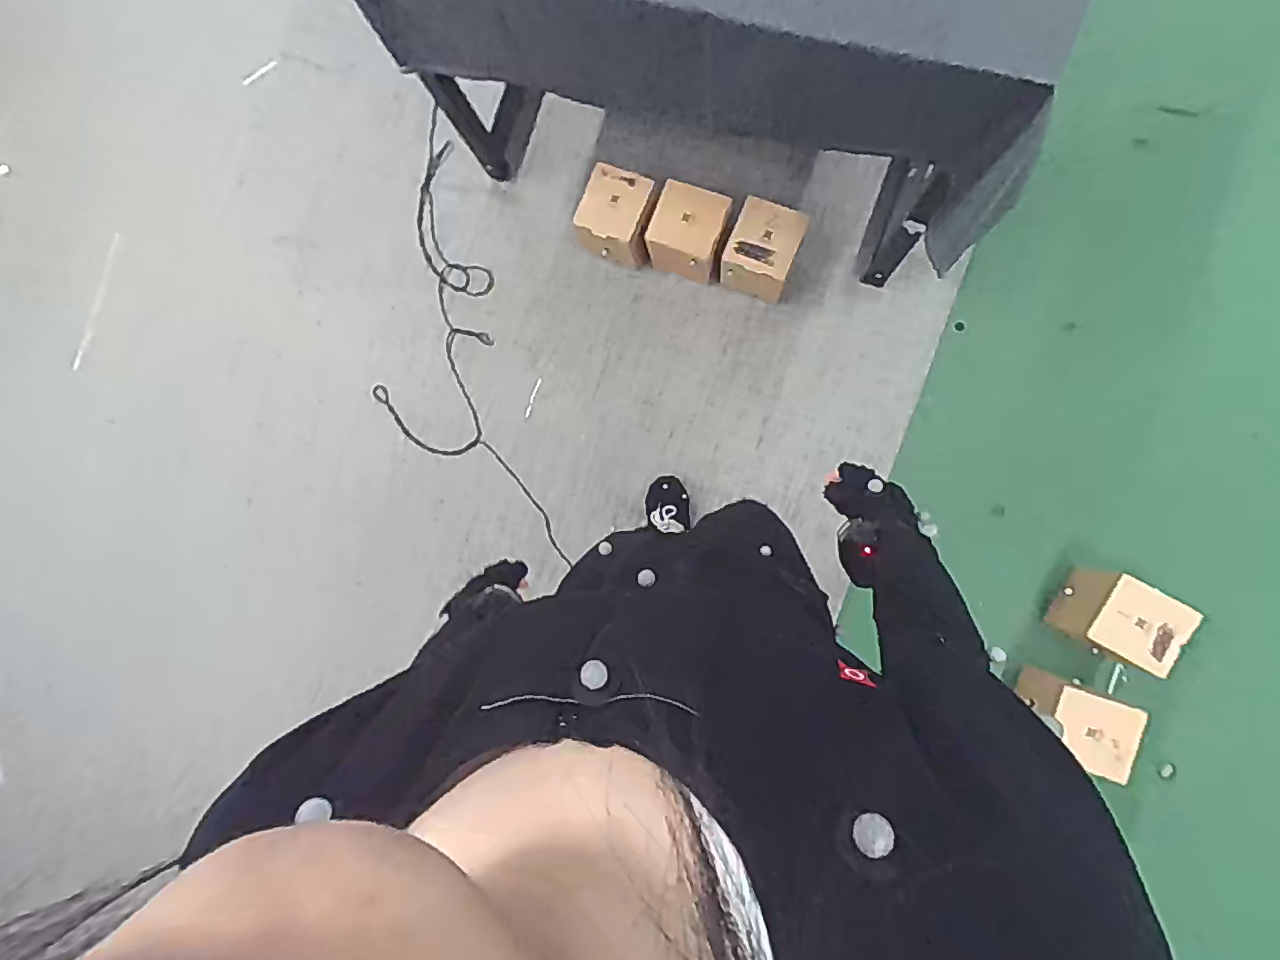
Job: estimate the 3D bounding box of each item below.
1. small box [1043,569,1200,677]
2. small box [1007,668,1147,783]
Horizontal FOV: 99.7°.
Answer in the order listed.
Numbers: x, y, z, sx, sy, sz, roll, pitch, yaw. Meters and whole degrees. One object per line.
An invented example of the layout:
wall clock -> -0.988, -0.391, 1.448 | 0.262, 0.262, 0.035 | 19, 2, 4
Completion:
small box -> 1.103, 0.320, 1.256 | 0.179, 0.176, 0.168 | 30, 91, 9
small box -> 1.001, 0.557, 1.257 | 0.179, 0.176, 0.168 | 17, 90, 7
